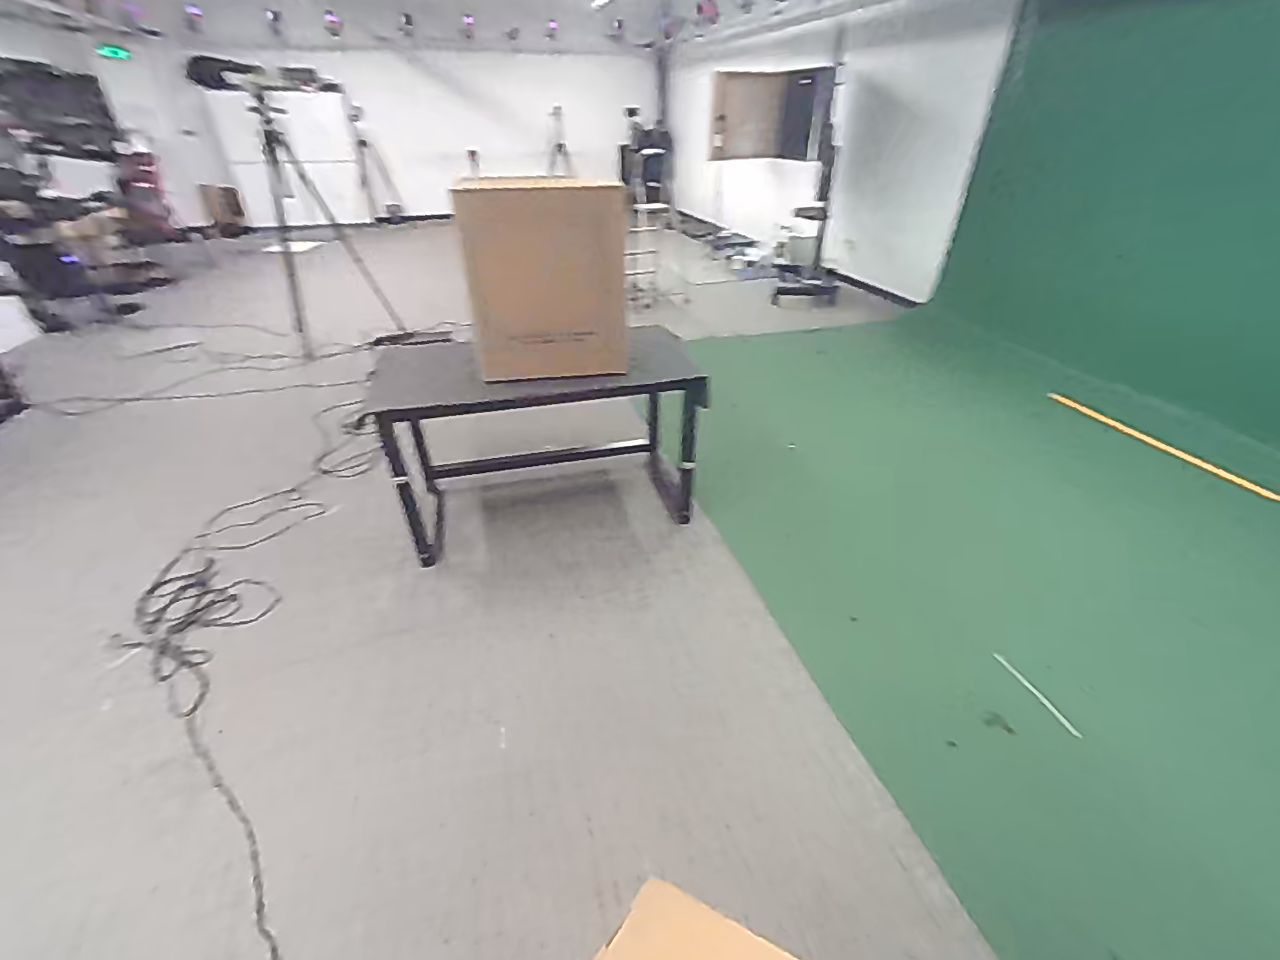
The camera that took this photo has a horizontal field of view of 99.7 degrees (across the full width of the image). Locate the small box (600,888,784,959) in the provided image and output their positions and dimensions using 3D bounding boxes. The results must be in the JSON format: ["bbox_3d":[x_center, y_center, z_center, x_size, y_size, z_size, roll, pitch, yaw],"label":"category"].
[{"bbox_3d":[0.032,0.385,0.283,0.179,0.176,0.168,11,8,25],"label":"small box"}]
